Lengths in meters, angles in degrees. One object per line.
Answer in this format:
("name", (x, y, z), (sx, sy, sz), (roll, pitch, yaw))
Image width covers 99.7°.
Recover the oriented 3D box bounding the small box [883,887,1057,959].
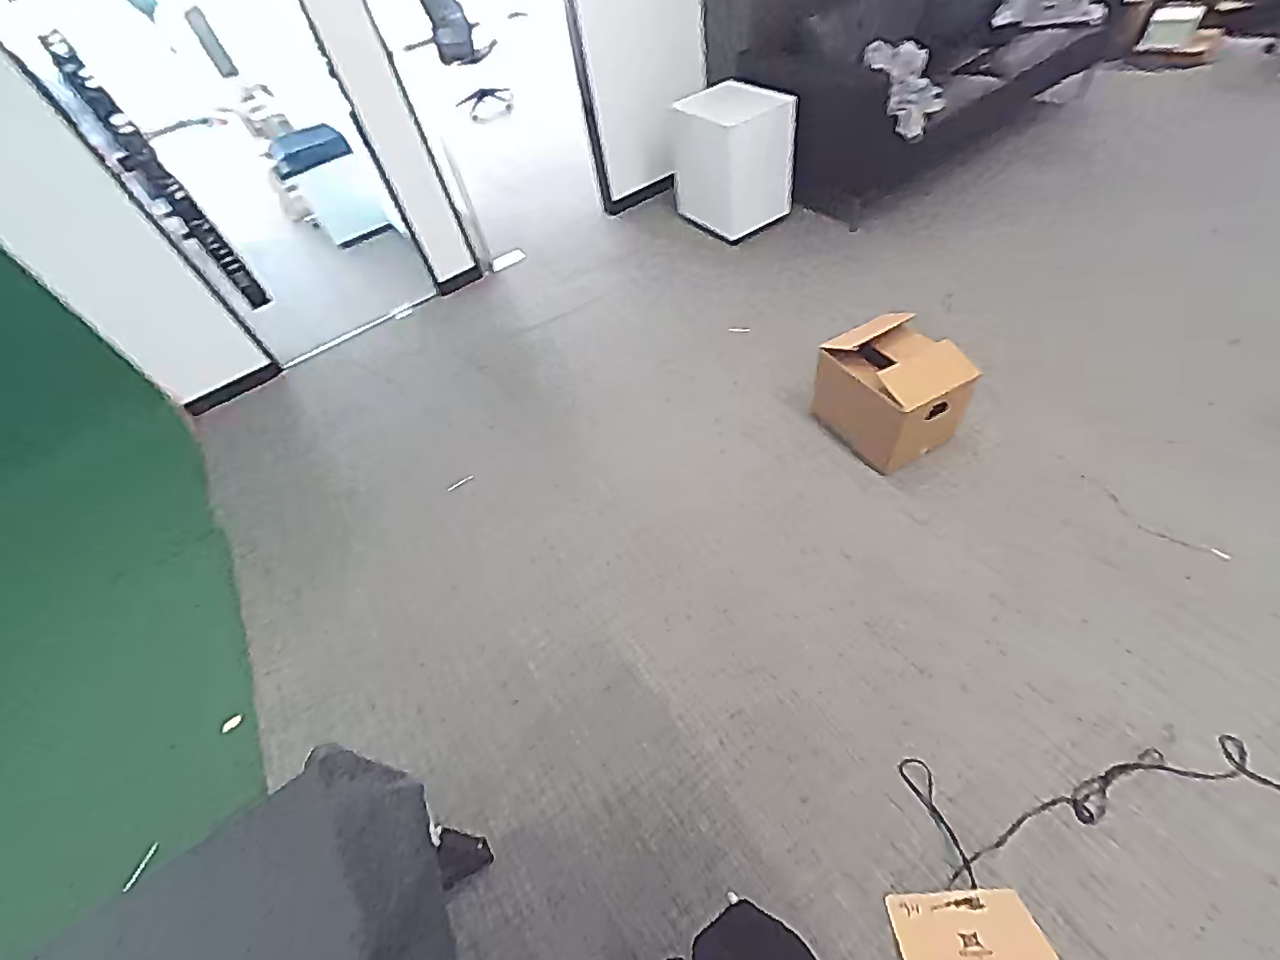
("small box", (0.412, 0.633, 0.635), (0.168, 0.179, 0.176), (-14, 86, 10))
